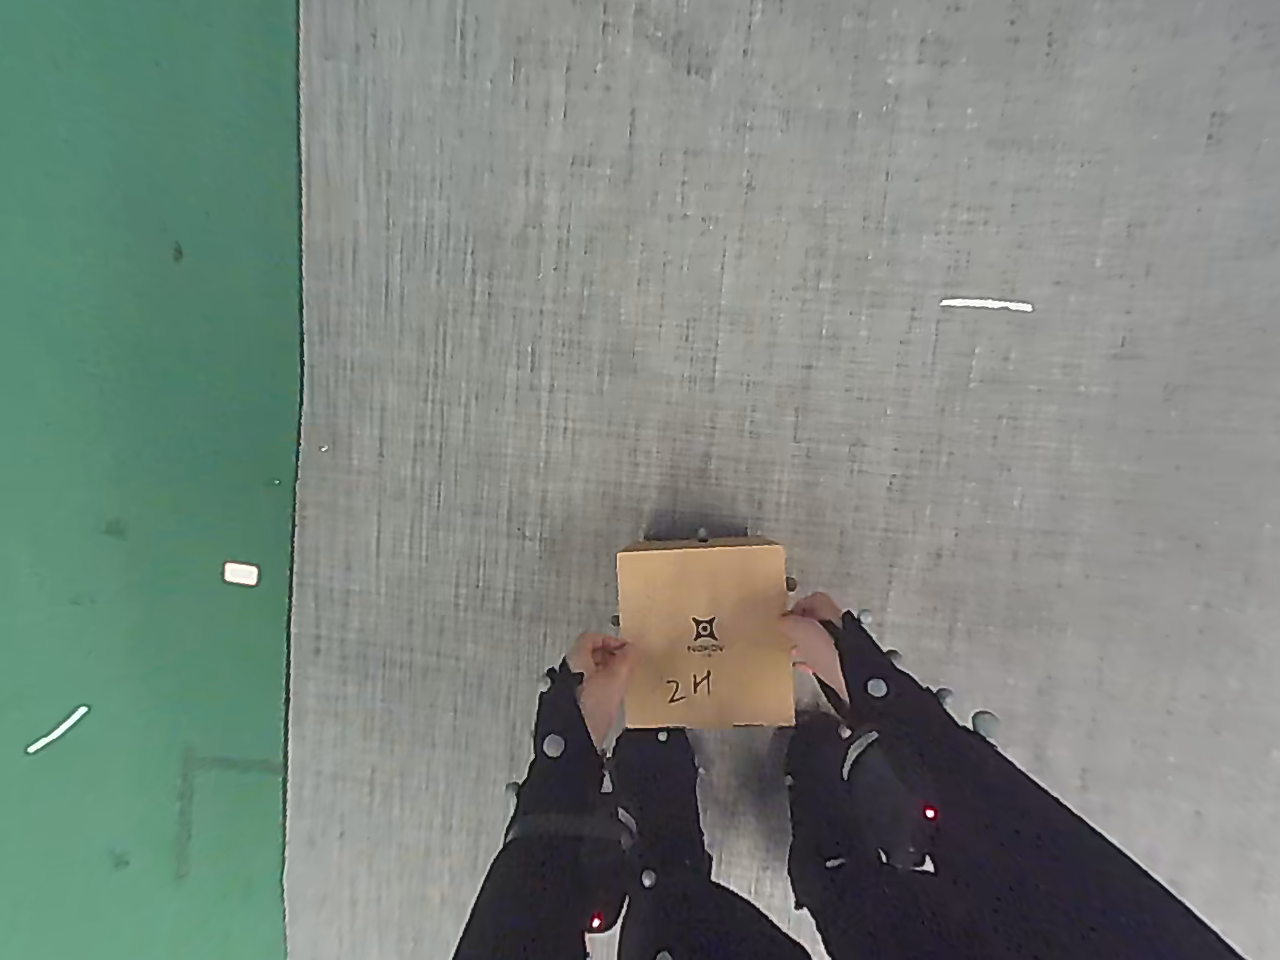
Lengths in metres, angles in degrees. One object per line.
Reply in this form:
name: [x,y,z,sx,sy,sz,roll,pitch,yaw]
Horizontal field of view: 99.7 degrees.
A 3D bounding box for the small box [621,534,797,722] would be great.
small box: [0.072,0.149,0.599,0.168,0.176,0.179,-3,86,6]
